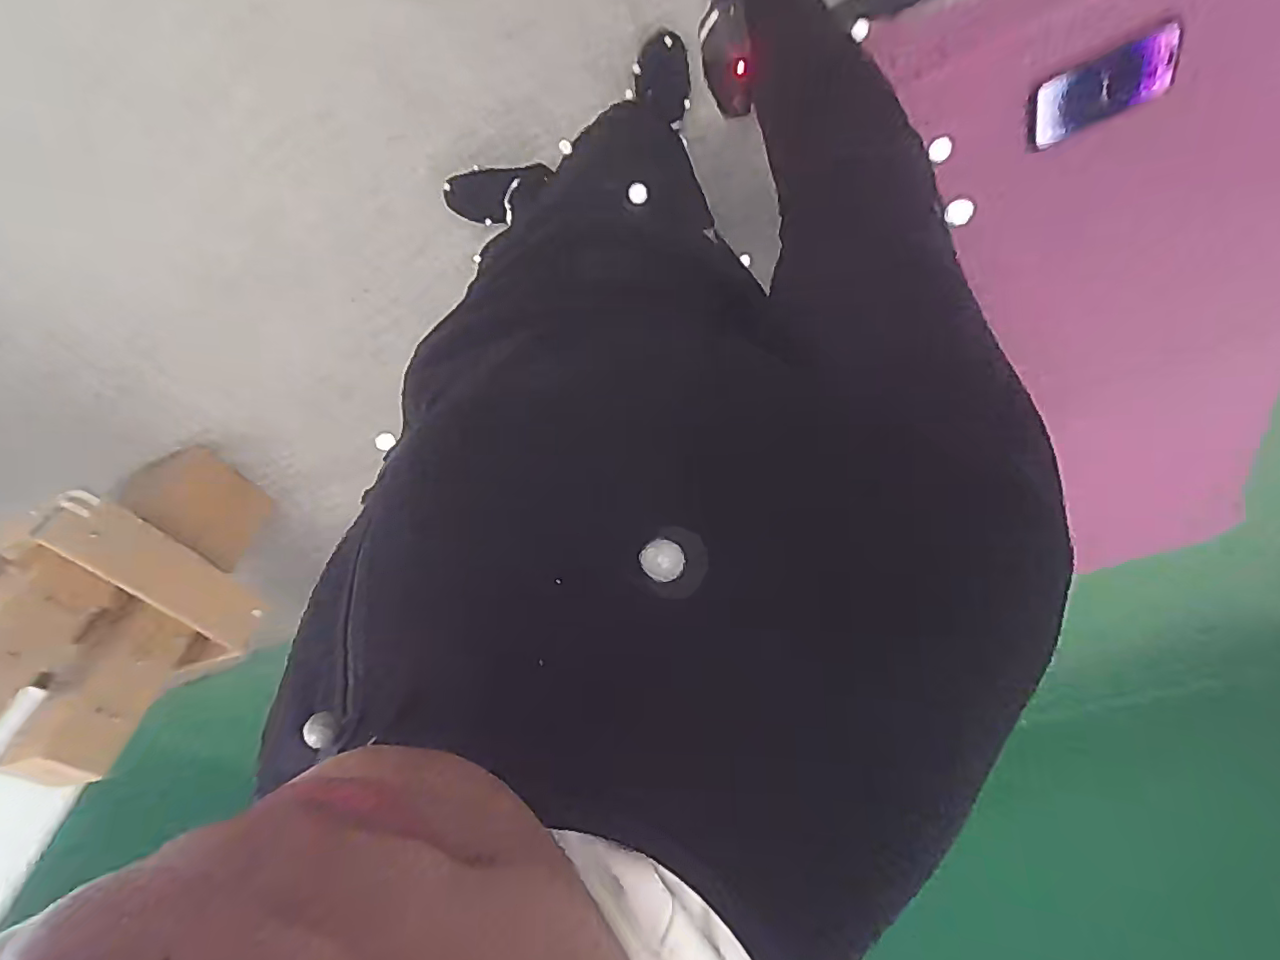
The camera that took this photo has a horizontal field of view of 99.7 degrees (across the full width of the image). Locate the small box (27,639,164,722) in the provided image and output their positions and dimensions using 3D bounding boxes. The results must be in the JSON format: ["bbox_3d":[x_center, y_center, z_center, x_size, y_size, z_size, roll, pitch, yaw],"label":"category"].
[{"bbox_3d":[-1.490,0.567,1.495,0.179,0.176,0.168,-17,132,11],"label":"small box"}]

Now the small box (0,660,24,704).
[{"bbox_3d":[-1.560,0.482,1.196,0.179,0.176,0.168,-16,131,10],"label":"small box"}]

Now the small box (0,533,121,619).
[{"bbox_3d":[-1.569,0.269,1.445,0.179,0.176,0.168,-17,131,10],"label":"small box"}]

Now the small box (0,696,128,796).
[{"bbox_3d":[-1.482,0.675,1.374,0.179,0.176,0.168,-16,132,11],"label":"small box"}]

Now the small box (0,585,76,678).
[{"bbox_3d":[-1.560,0.378,1.323,0.179,0.176,0.168,-16,131,10],"label":"small box"}]
